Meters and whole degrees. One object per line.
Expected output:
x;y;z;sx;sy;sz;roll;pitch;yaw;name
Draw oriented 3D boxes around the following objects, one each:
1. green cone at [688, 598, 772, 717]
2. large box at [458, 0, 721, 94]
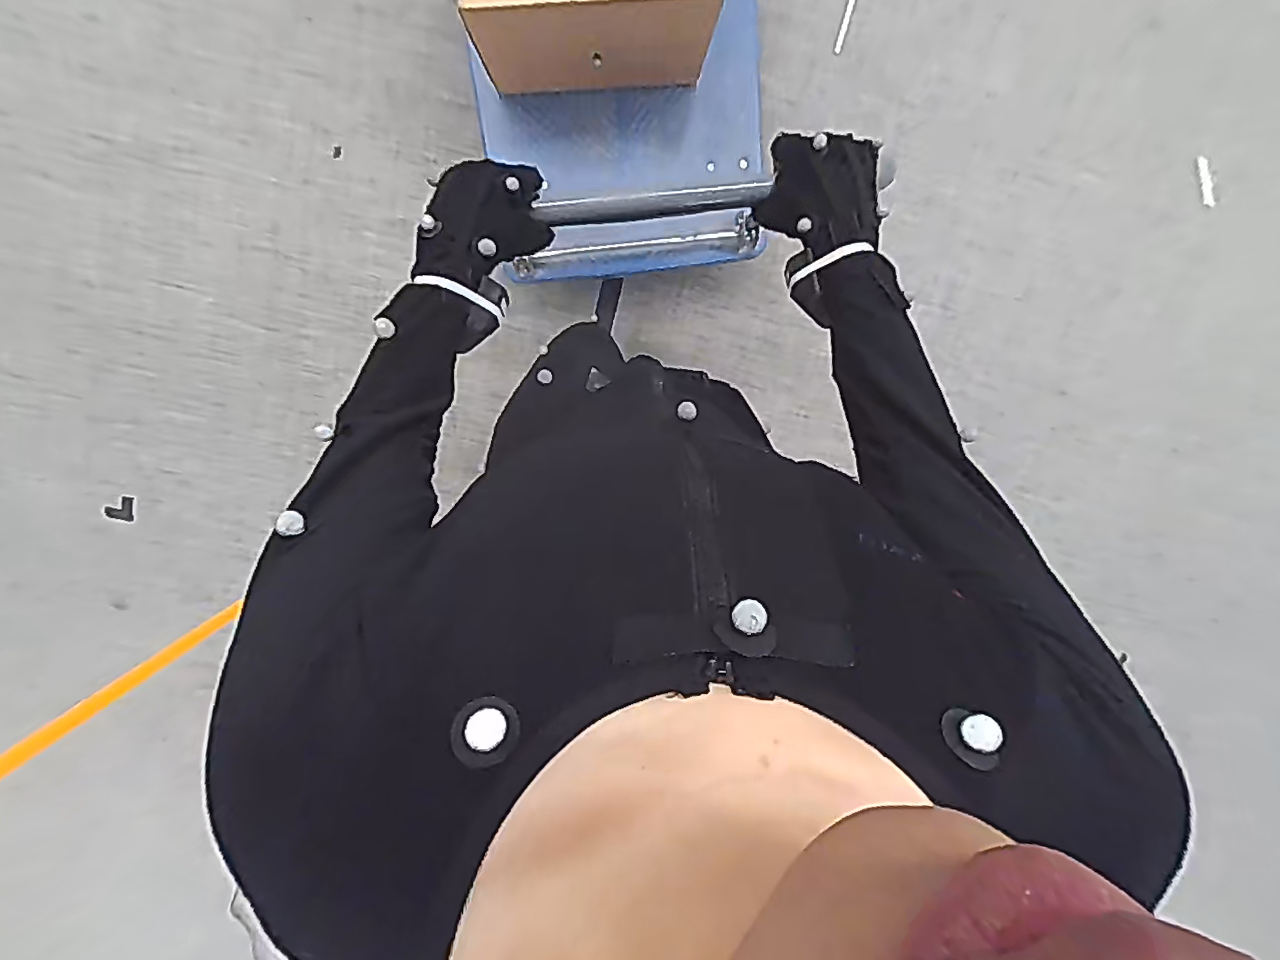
0.273;0.499;1.442;0.202;0.368;0.200;16;103;-8;green cone
-0.088;-0.898;0.913;0.408;0.320;0.320;-4;105;-1;large box
